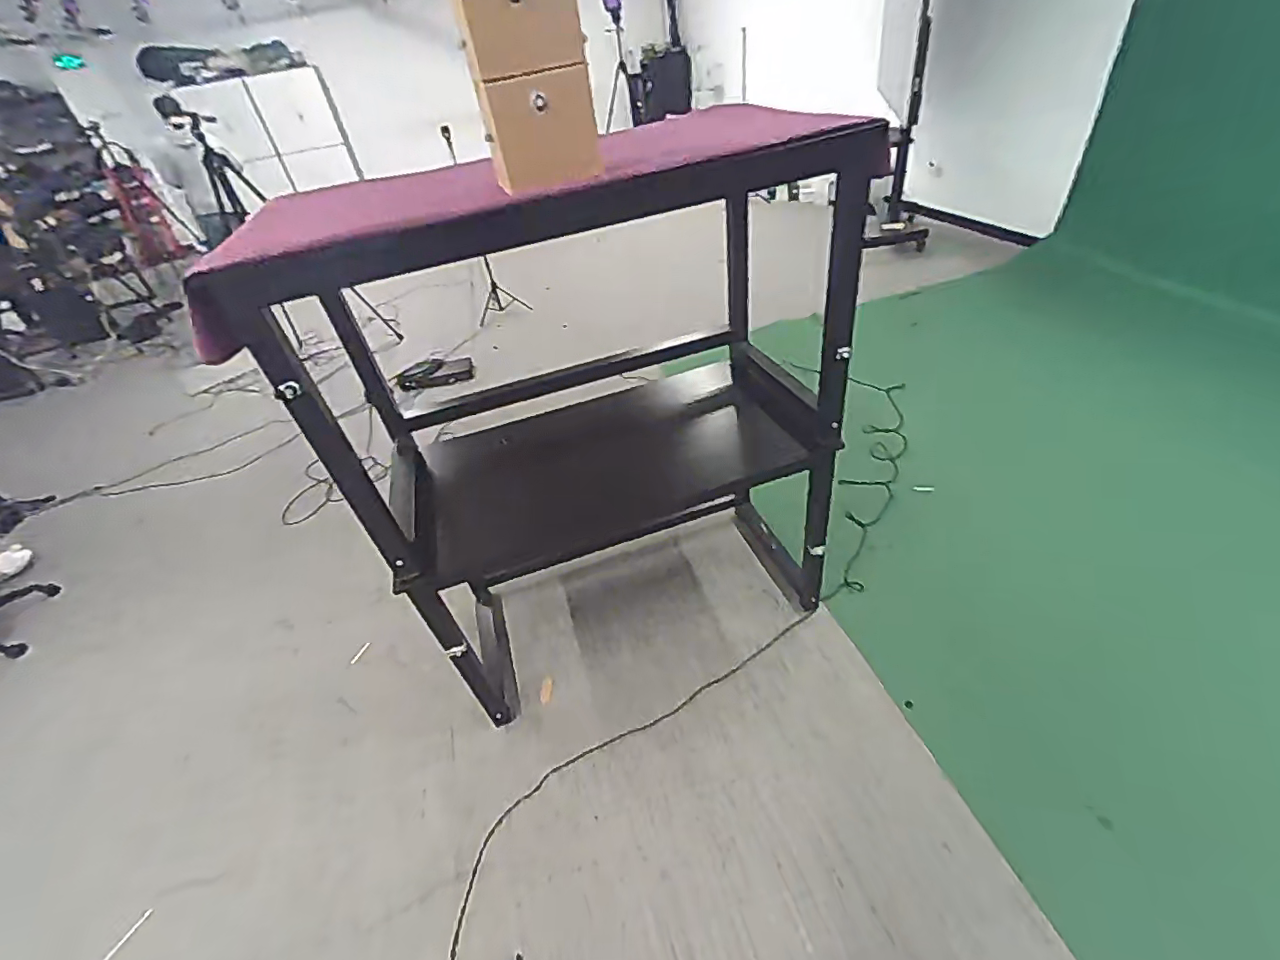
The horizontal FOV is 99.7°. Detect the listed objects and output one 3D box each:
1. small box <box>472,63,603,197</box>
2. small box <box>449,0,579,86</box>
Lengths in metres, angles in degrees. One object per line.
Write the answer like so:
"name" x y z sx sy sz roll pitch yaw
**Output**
"small box" -0.180 -0.618 0.959 0.179 0.176 0.168 -18 40 -10
"small box" -0.203 -0.743 0.856 0.179 0.176 0.168 -20 40 -9
